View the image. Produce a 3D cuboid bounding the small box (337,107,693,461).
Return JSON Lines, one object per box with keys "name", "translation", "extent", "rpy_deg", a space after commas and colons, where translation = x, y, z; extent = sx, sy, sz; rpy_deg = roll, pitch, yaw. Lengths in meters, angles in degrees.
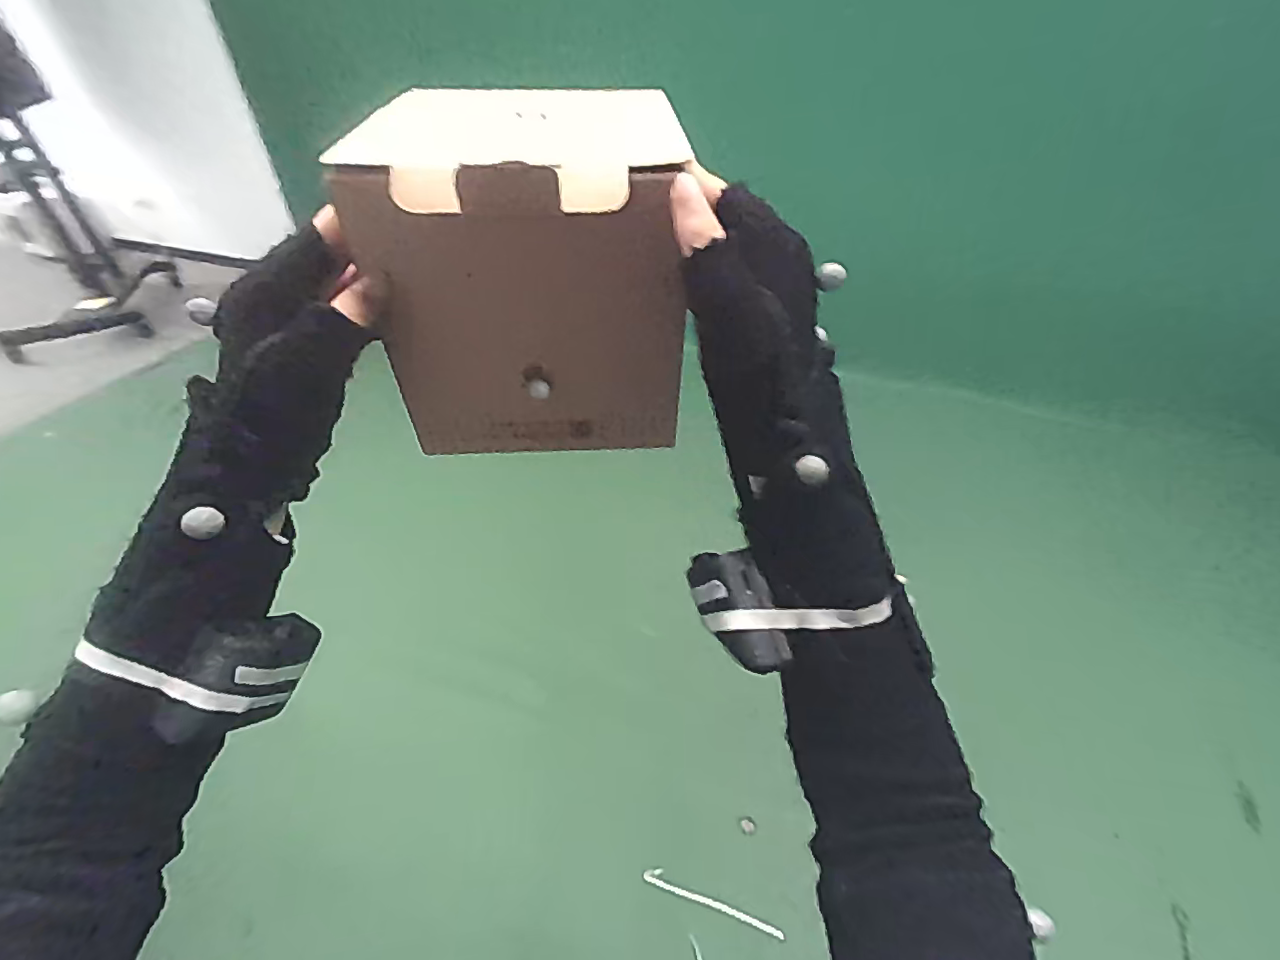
{"name": "small box", "translation": [-0.062, -0.131, 0.360], "extent": [0.168, 0.176, 0.179], "rpy_deg": [-2, 45, -3]}
